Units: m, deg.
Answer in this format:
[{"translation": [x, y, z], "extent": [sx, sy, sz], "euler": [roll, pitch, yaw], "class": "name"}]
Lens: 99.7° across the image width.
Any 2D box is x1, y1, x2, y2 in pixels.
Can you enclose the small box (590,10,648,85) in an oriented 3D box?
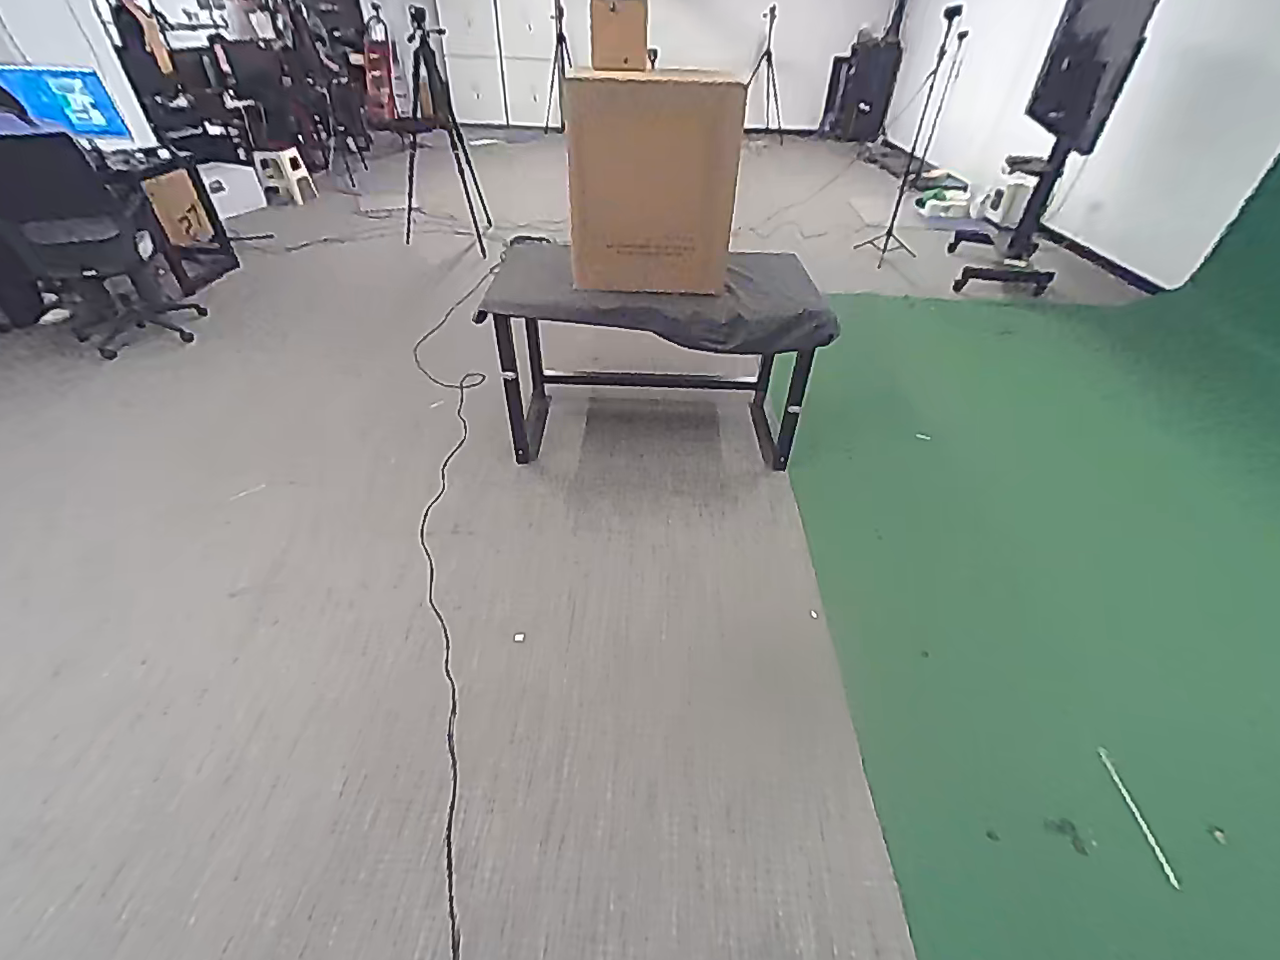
[{"translation": [-0.061, -1.332, 1.670], "extent": [0.168, 0.176, 0.179], "euler": [2, 38, 1], "class": "small box"}]
